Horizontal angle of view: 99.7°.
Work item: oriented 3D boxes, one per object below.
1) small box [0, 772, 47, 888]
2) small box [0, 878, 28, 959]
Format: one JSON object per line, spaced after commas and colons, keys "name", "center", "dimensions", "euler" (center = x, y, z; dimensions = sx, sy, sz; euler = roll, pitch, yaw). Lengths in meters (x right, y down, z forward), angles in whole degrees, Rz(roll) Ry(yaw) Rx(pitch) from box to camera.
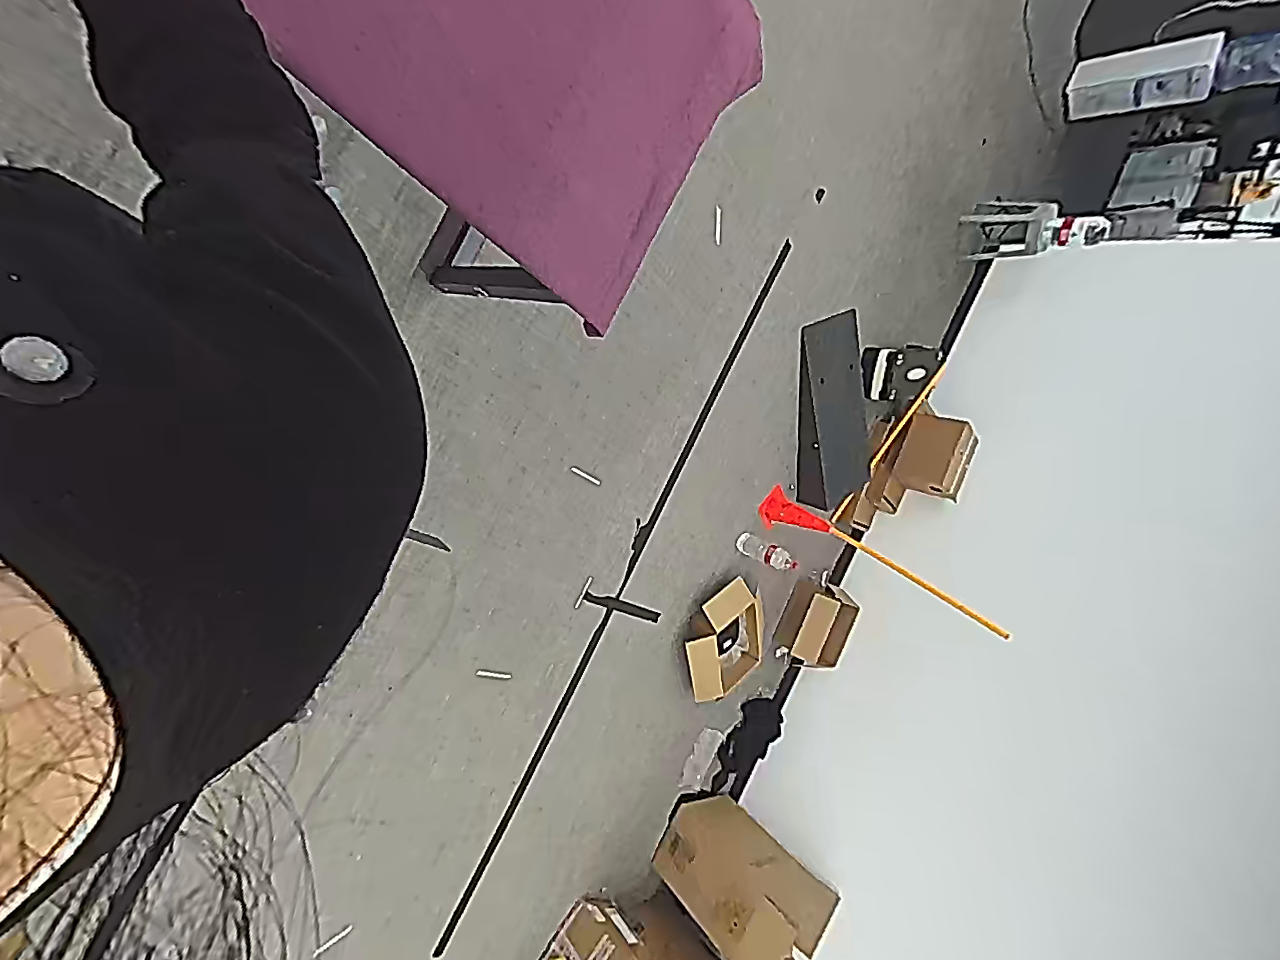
{"name": "small box", "center": [-0.833, 0.466, 0.616], "dimensions": [0.168, 0.176, 0.179], "euler": [32, 85, -45]}
{"name": "small box", "center": [-0.725, 0.511, 0.502], "dimensions": [0.168, 0.176, 0.179], "euler": [30, 86, -46]}
